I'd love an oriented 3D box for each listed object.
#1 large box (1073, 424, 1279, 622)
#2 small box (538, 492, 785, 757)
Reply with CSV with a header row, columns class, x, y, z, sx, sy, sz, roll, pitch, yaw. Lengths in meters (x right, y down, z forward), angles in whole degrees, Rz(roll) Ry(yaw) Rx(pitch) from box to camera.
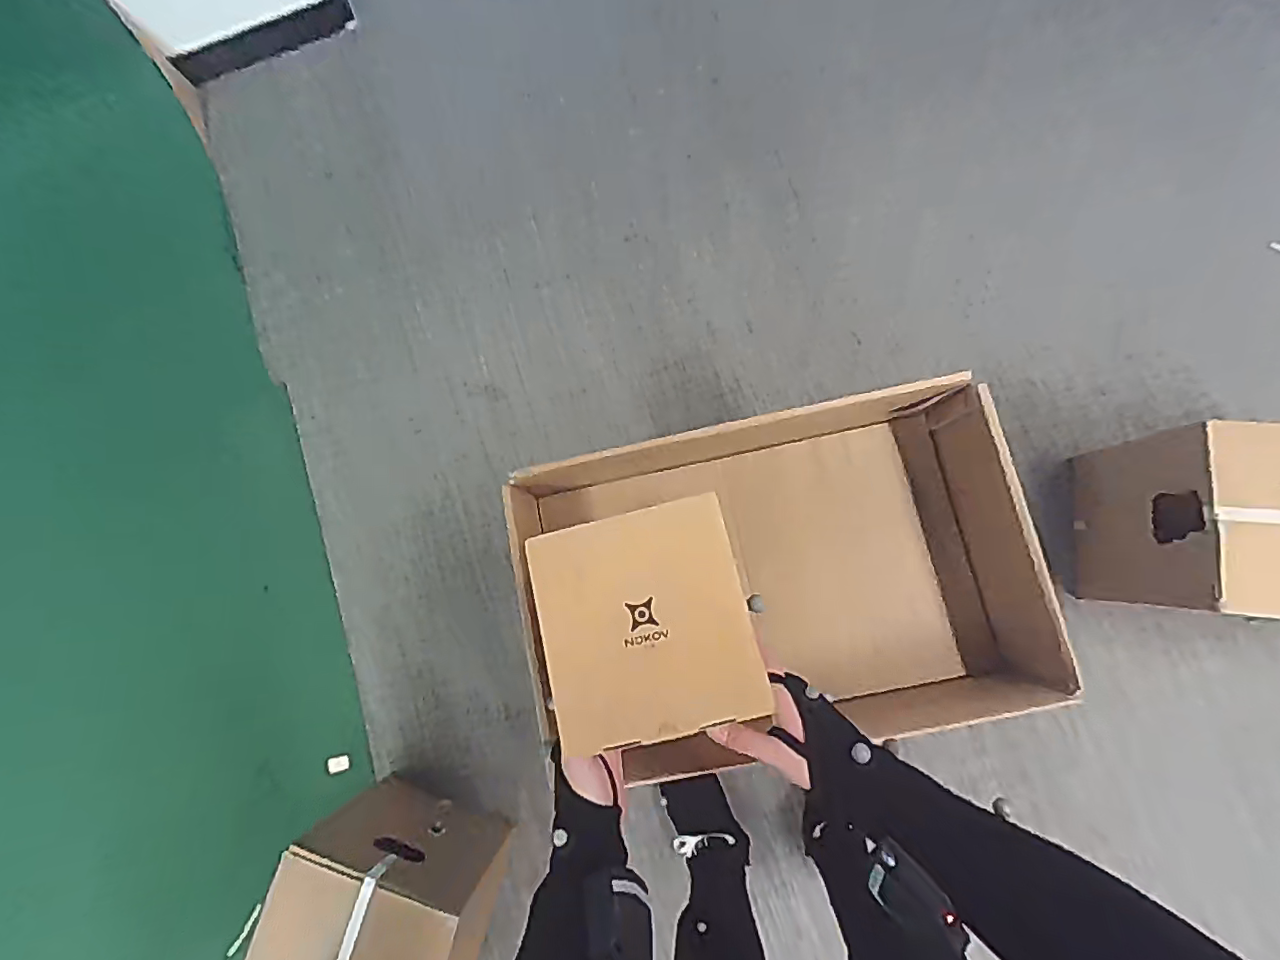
class,x,y,z,sx,sy,sz,roll,pitch,yaw
large box,1.109,0.091,0.985,0.408,0.320,0.320,4,81,6
small box,0.019,0.127,0.502,0.168,0.176,0.179,-15,77,3
